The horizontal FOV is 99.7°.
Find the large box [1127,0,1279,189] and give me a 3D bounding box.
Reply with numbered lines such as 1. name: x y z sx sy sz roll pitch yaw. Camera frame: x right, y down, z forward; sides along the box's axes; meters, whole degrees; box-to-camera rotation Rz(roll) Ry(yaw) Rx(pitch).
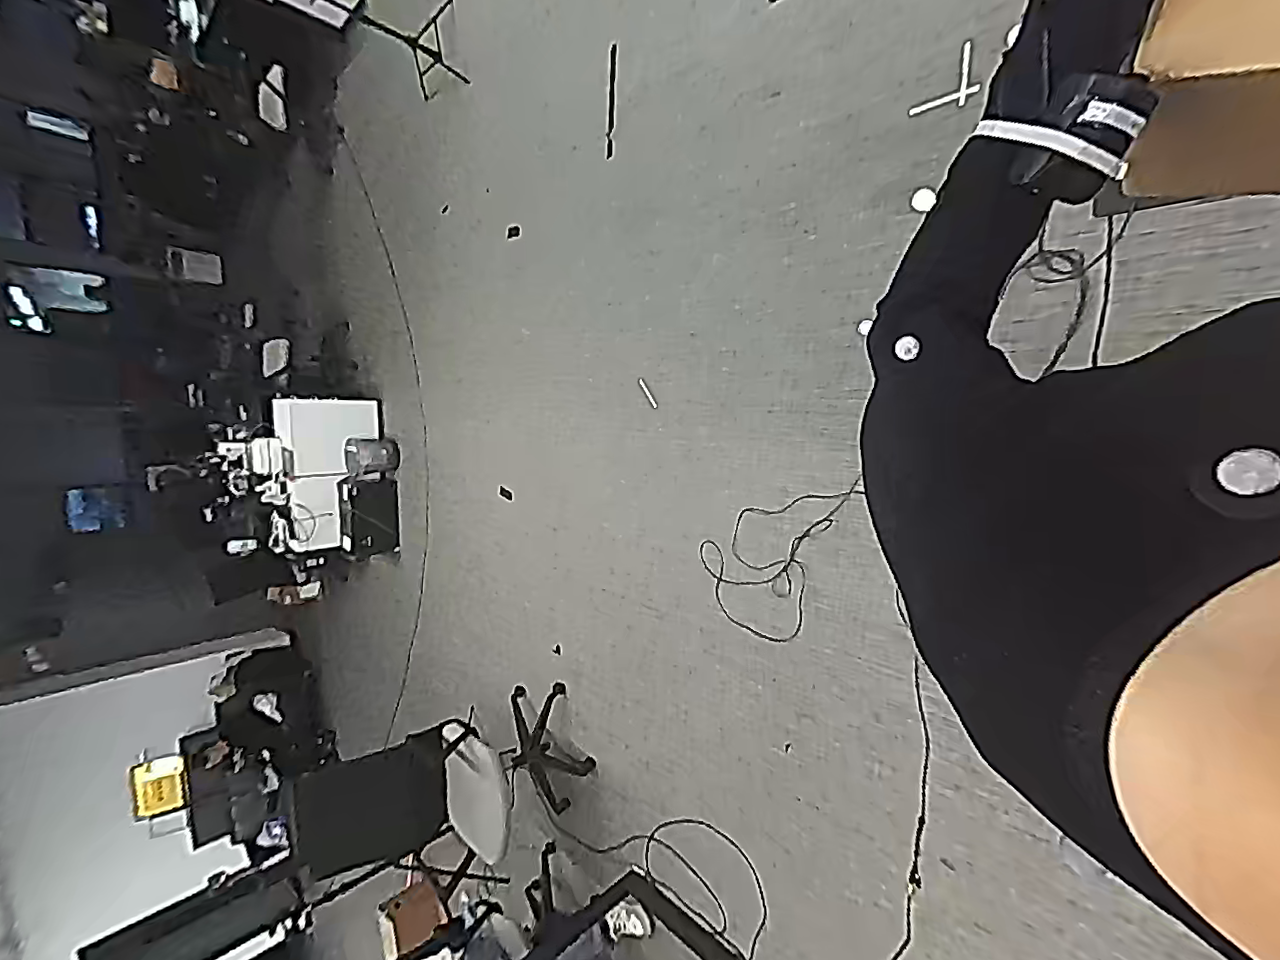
1. large box: 0.574 -0.372 0.290 0.408 0.320 0.320 20 112 36

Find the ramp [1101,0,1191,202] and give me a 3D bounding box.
1. ramp: 1.080 -1.028 0.833 0.509 0.206 0.991 6 99 43
